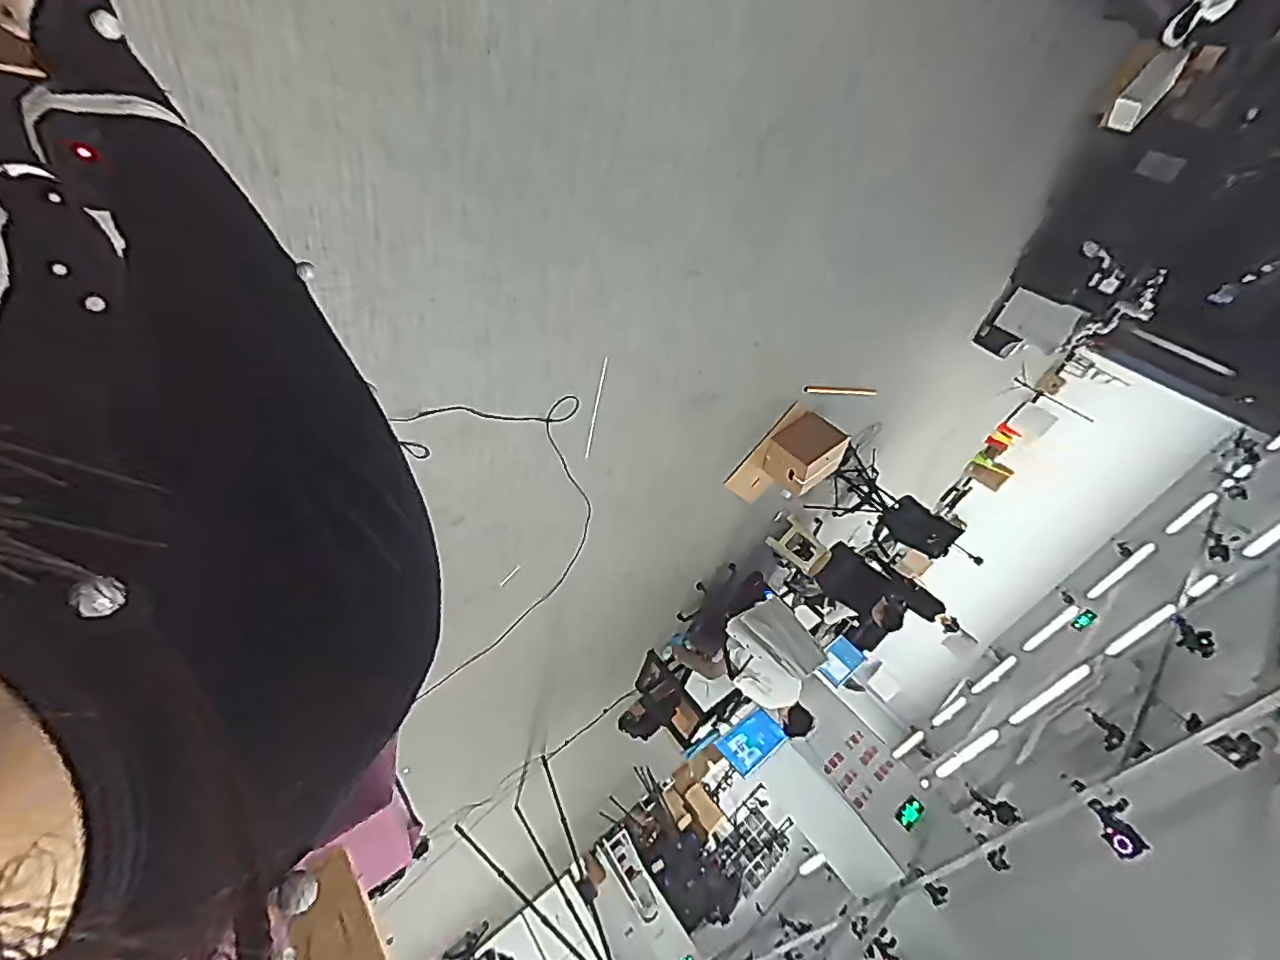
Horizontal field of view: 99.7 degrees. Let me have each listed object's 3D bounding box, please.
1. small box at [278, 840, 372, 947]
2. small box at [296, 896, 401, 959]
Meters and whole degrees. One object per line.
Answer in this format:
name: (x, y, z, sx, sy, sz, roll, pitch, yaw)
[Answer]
small box: (-0.840, 1.109, 1.447, 0.168, 0.176, 0.179, -23, 145, -33)
small box: (-0.735, 1.208, 1.371, 0.179, 0.176, 0.168, -24, 144, -31)
